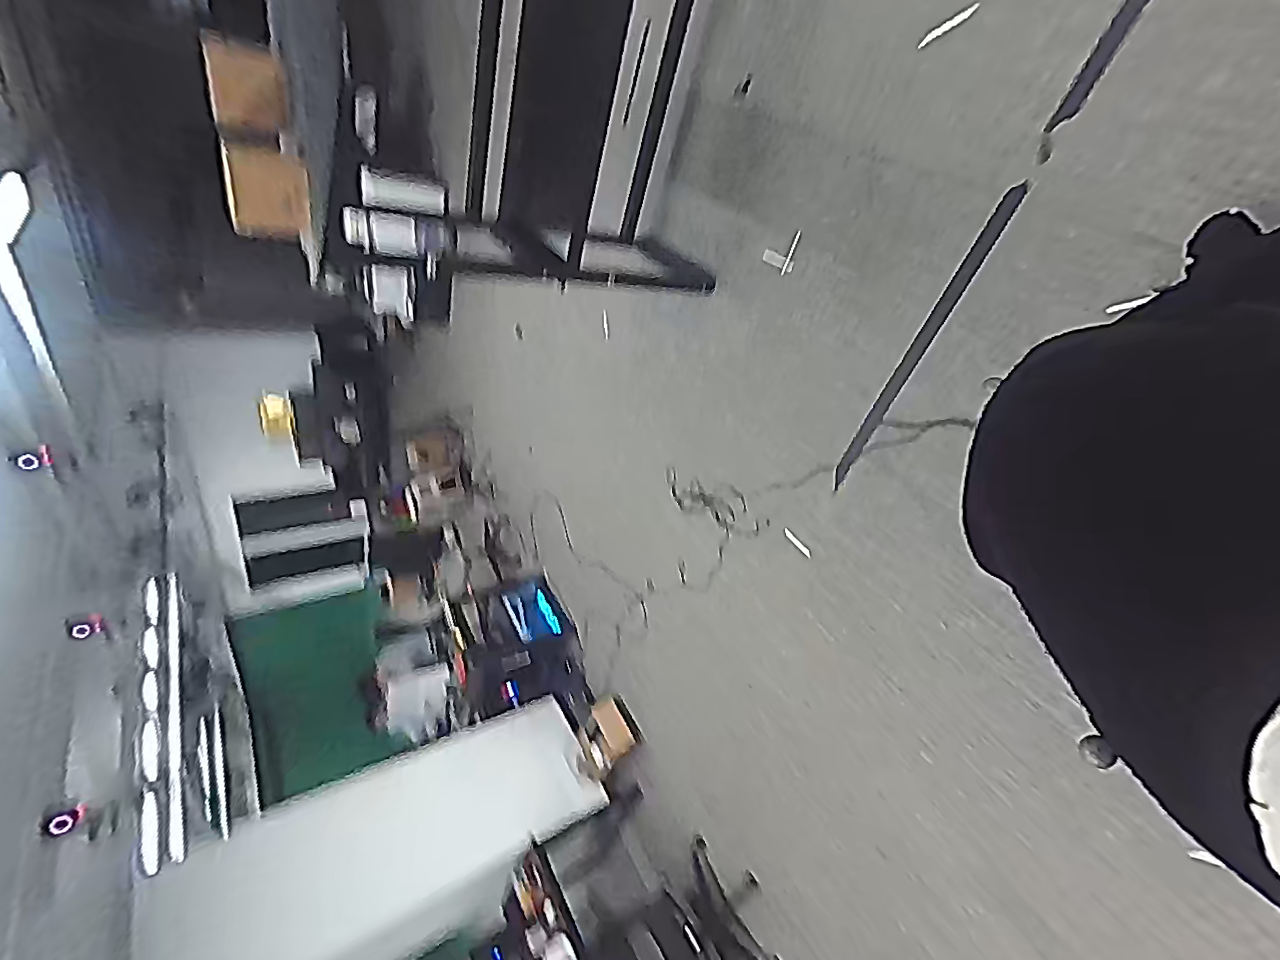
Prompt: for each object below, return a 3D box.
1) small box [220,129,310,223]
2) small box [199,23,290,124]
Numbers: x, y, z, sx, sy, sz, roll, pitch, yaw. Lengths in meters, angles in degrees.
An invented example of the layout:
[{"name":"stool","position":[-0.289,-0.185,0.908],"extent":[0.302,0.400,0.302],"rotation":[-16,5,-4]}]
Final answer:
[{"name":"small box","position":[-0.953,-0.771,1.379],"extent":[0.179,0.176,0.168],"rotation":[46,132,38]},{"name":"small box","position":[-1.030,-1.060,1.418],"extent":[0.179,0.176,0.168],"rotation":[51,135,36]}]
